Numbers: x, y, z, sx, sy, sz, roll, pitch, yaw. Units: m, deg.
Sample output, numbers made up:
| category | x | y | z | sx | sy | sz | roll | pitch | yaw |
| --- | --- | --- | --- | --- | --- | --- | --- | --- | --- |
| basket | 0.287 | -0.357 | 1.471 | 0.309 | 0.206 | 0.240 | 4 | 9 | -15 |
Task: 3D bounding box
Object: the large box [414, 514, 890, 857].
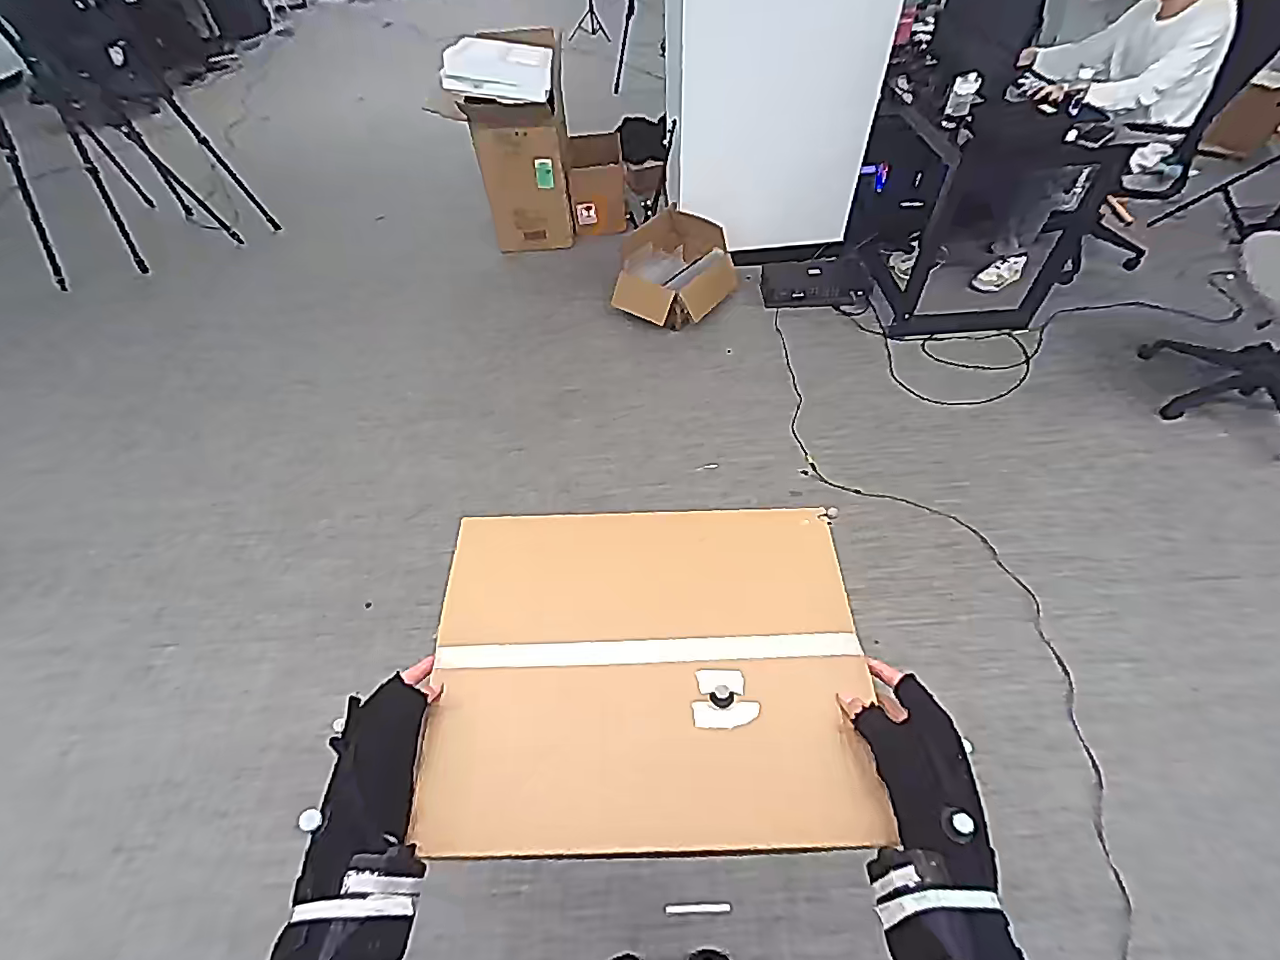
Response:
| category | x | y | z | sx | sy | sz | roll | pitch | yaw |
| --- | --- | --- | --- | --- | --- | --- | --- | --- | --- |
| large box | 0.008 | 0.256 | 0.650 | 0.408 | 0.320 | 0.320 | -1 | 55 | 0 |
